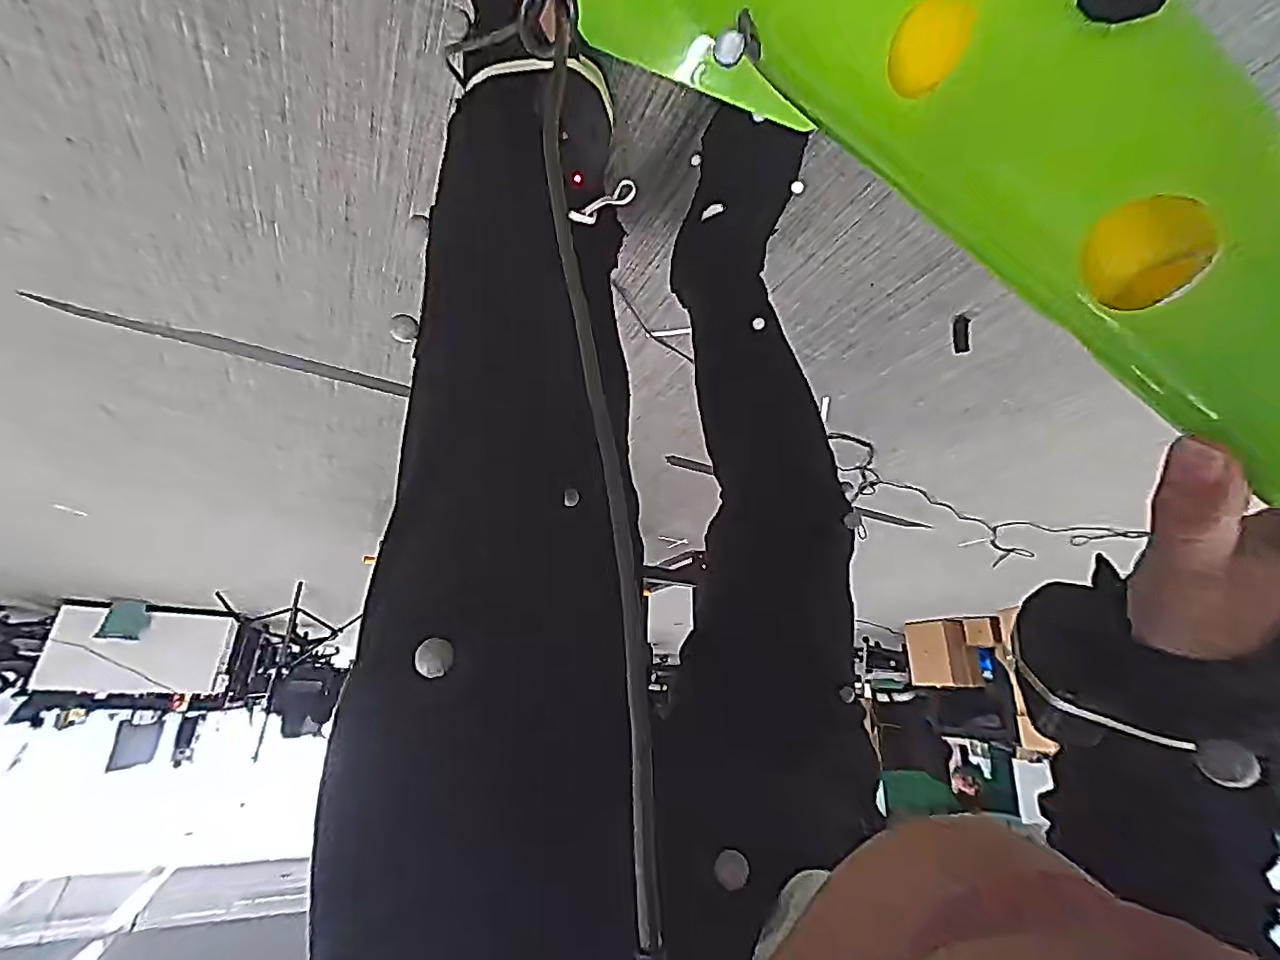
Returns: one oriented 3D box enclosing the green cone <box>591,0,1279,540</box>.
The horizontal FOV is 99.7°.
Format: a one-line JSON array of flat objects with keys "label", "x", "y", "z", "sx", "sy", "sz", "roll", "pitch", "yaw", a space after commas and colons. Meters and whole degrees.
[{"label": "green cone", "x": 0.133, "y": -0.152, "z": 0.201, "sx": 0.200, "sy": 0.368, "sz": 0.202, "roll": -1, "pitch": 151, "yaw": -28}]
